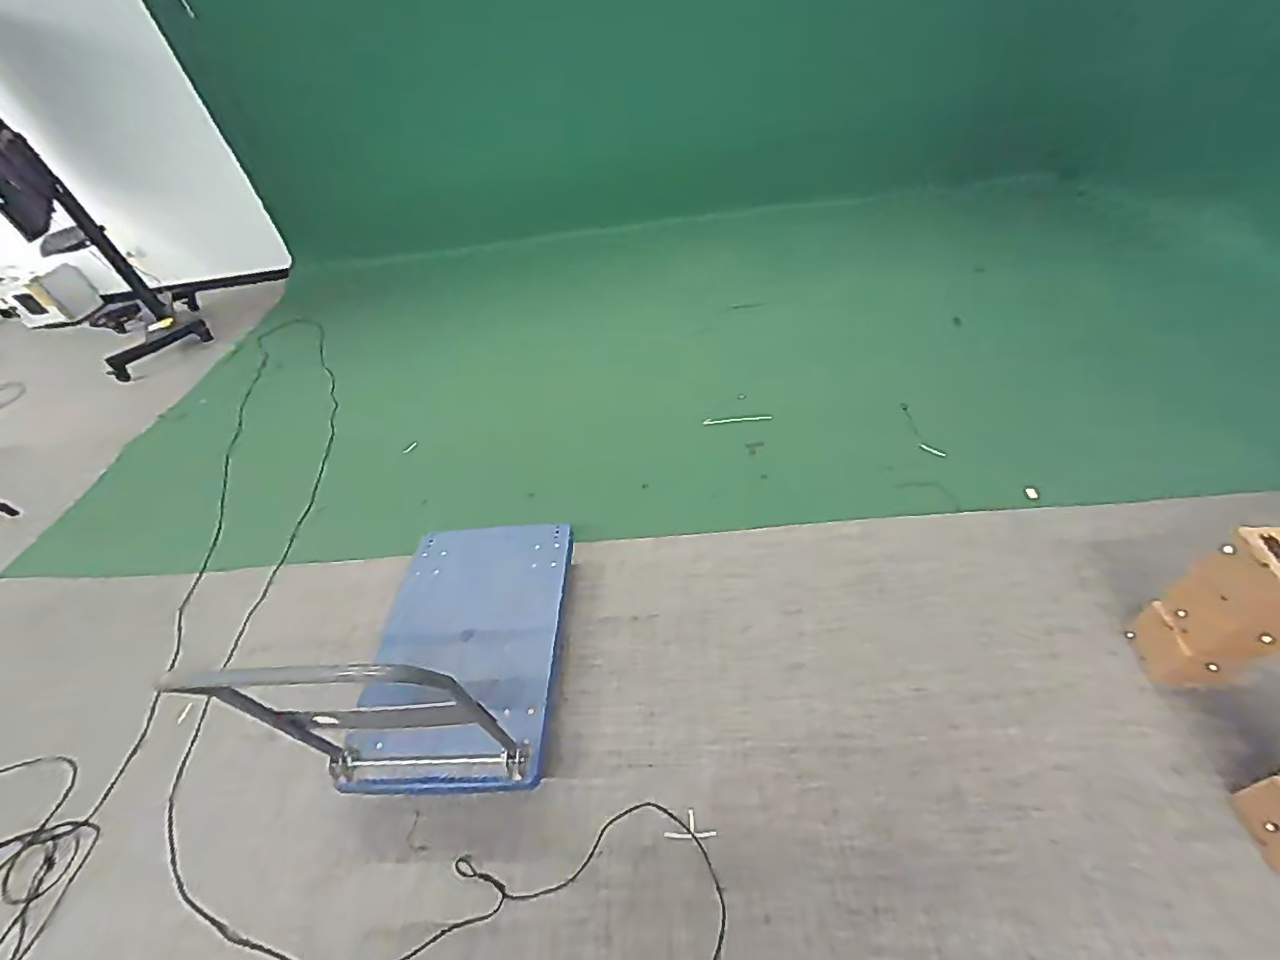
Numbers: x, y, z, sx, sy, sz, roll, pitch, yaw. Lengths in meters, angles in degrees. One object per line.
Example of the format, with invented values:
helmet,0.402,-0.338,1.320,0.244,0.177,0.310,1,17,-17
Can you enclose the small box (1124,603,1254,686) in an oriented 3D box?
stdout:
small box,1.512,0.461,1.510,0.179,0.176,0.168,-1,47,9

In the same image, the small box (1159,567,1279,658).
small box,1.502,0.339,1.378,0.179,0.176,0.168,-1,46,10

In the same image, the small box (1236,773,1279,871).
small box,1.495,0.761,1.191,0.179,0.176,0.168,-4,45,8
